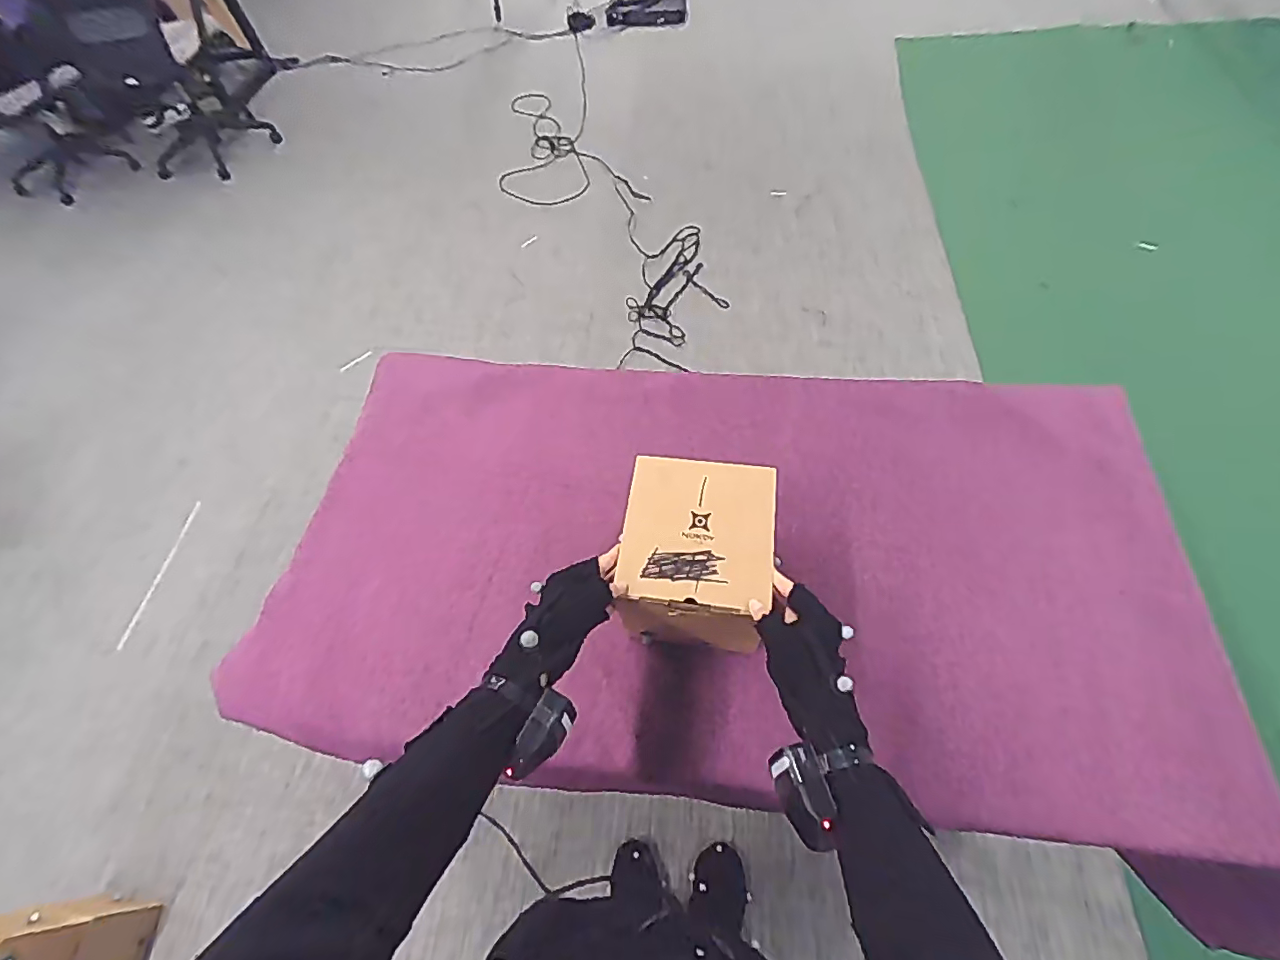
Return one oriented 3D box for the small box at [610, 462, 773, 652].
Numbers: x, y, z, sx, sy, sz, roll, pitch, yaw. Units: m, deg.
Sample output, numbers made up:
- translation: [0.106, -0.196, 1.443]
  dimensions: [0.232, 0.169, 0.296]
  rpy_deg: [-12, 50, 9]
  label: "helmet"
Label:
- translation: [0.068, 0.101, 0.667]
  dimensions: [0.168, 0.176, 0.179]
  rpy_deg: [6, 59, 8]
  label: "small box"
